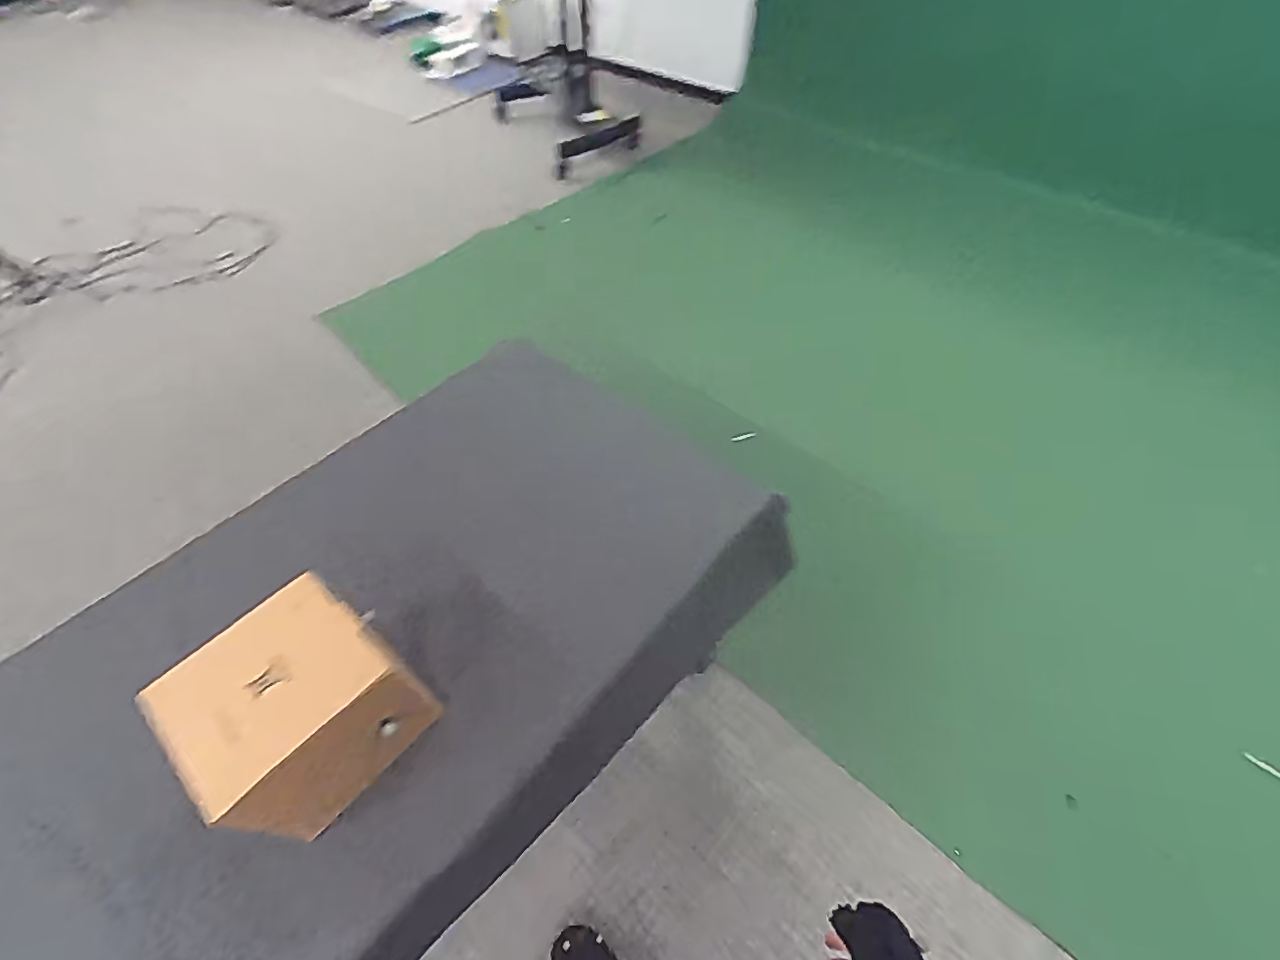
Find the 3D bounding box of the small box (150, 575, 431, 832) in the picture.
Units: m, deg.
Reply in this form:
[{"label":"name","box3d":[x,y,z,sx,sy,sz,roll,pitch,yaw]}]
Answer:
[{"label":"small box","box3d":[-0.355,0.244,0.591,0.168,0.176,0.179,32,61,25]}]
